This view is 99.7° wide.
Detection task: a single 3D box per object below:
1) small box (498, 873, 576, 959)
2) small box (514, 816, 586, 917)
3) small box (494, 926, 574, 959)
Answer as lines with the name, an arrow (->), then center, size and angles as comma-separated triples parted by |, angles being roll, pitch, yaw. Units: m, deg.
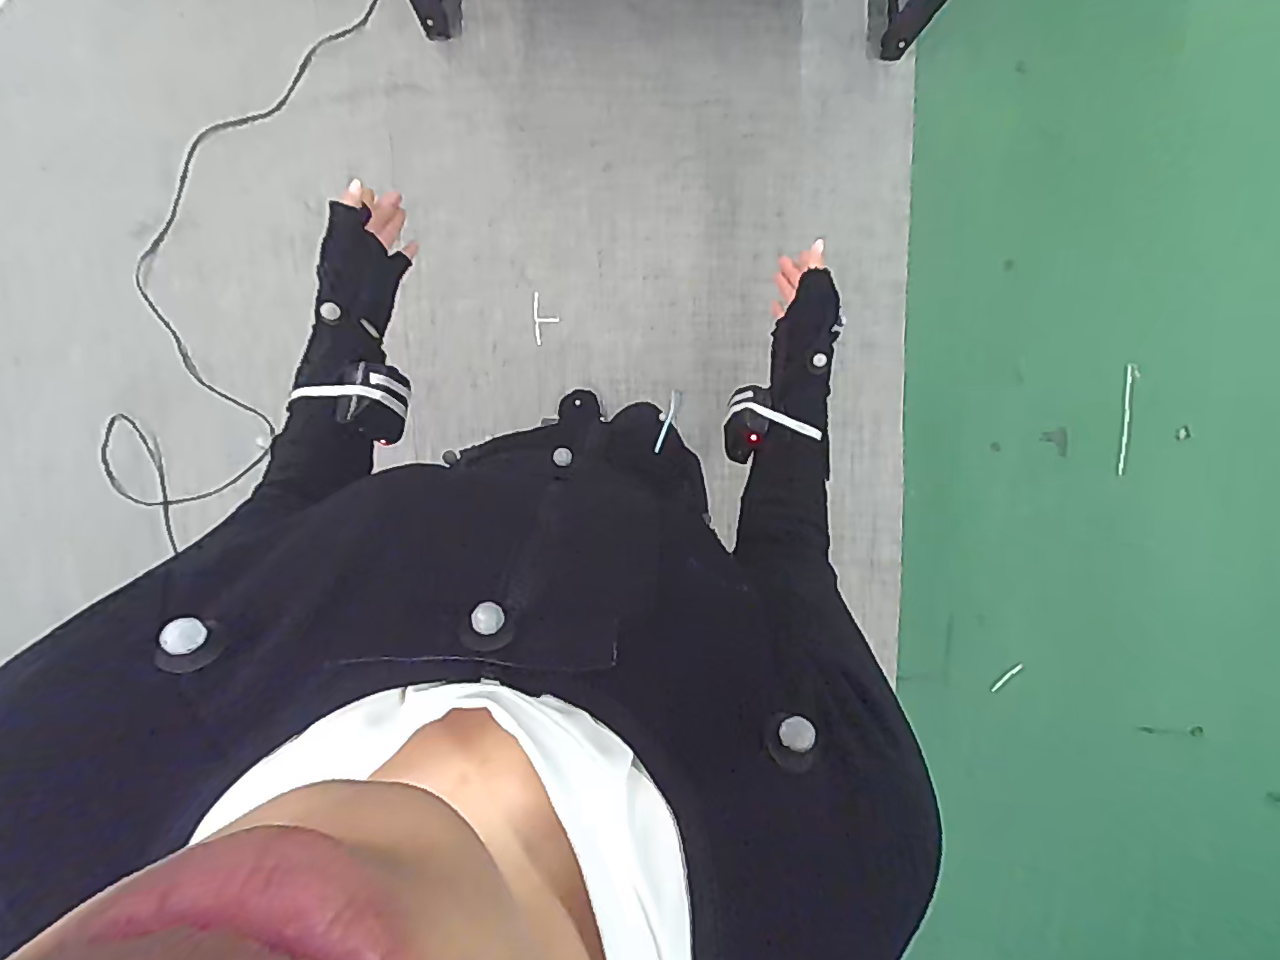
small box -> -0.239, 1.073, 1.284 | 0.168, 0.176, 0.179 | -3, 98, -5
small box -> -0.240, 1.048, 1.465 | 0.168, 0.176, 0.179 | -8, 98, -5
small box -> -0.225, 1.085, 1.138 | 0.168, 0.176, 0.179 | -3, 98, -4
